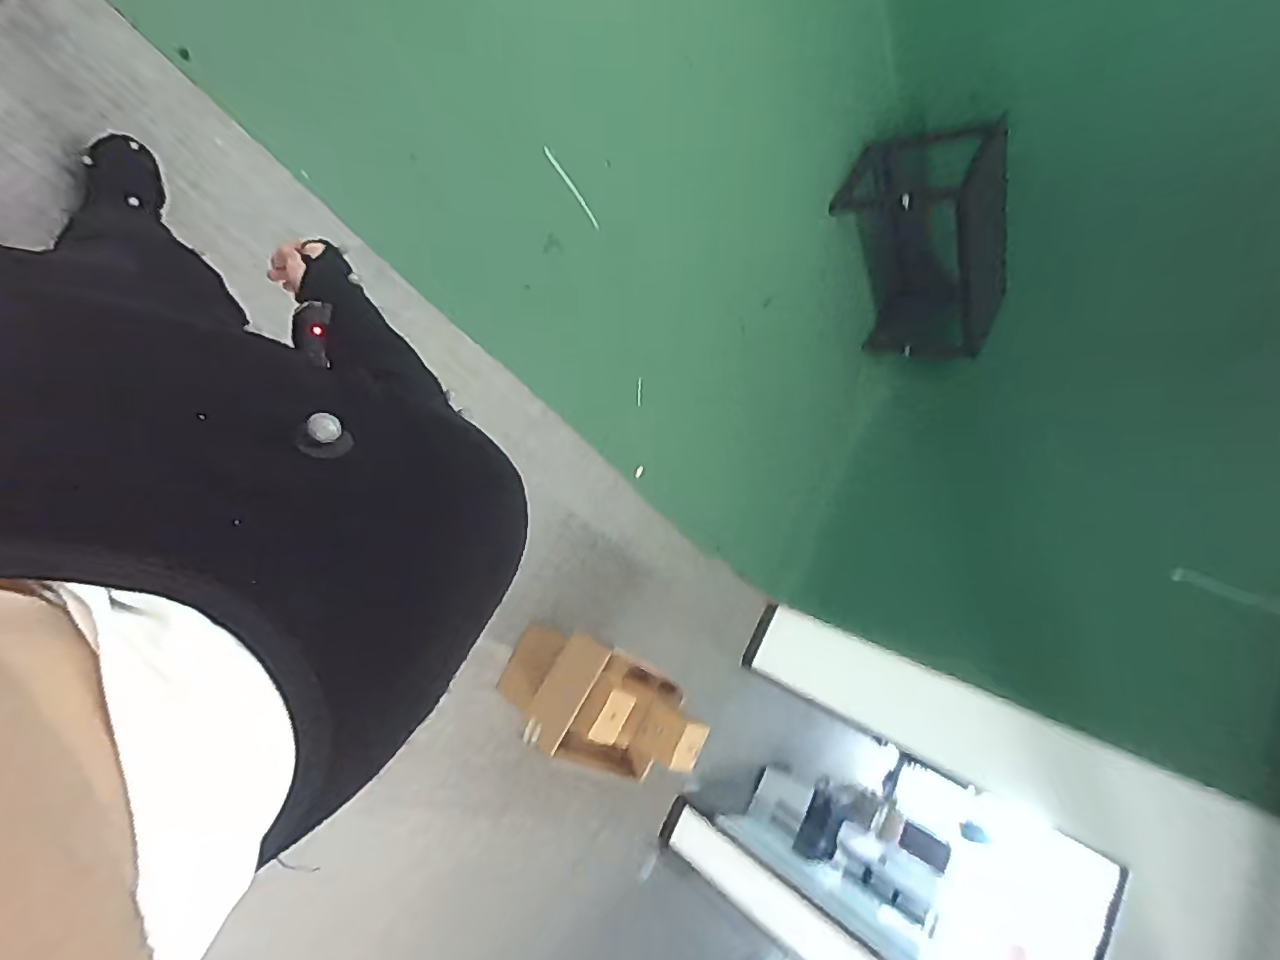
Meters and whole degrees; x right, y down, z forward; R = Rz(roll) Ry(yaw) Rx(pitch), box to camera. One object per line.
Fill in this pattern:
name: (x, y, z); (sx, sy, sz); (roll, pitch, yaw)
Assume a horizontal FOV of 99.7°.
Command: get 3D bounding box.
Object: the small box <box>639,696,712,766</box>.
small box: (0.125, 0.909, 1.965); (0.179, 0.176, 0.168); (39, 76, -46)
